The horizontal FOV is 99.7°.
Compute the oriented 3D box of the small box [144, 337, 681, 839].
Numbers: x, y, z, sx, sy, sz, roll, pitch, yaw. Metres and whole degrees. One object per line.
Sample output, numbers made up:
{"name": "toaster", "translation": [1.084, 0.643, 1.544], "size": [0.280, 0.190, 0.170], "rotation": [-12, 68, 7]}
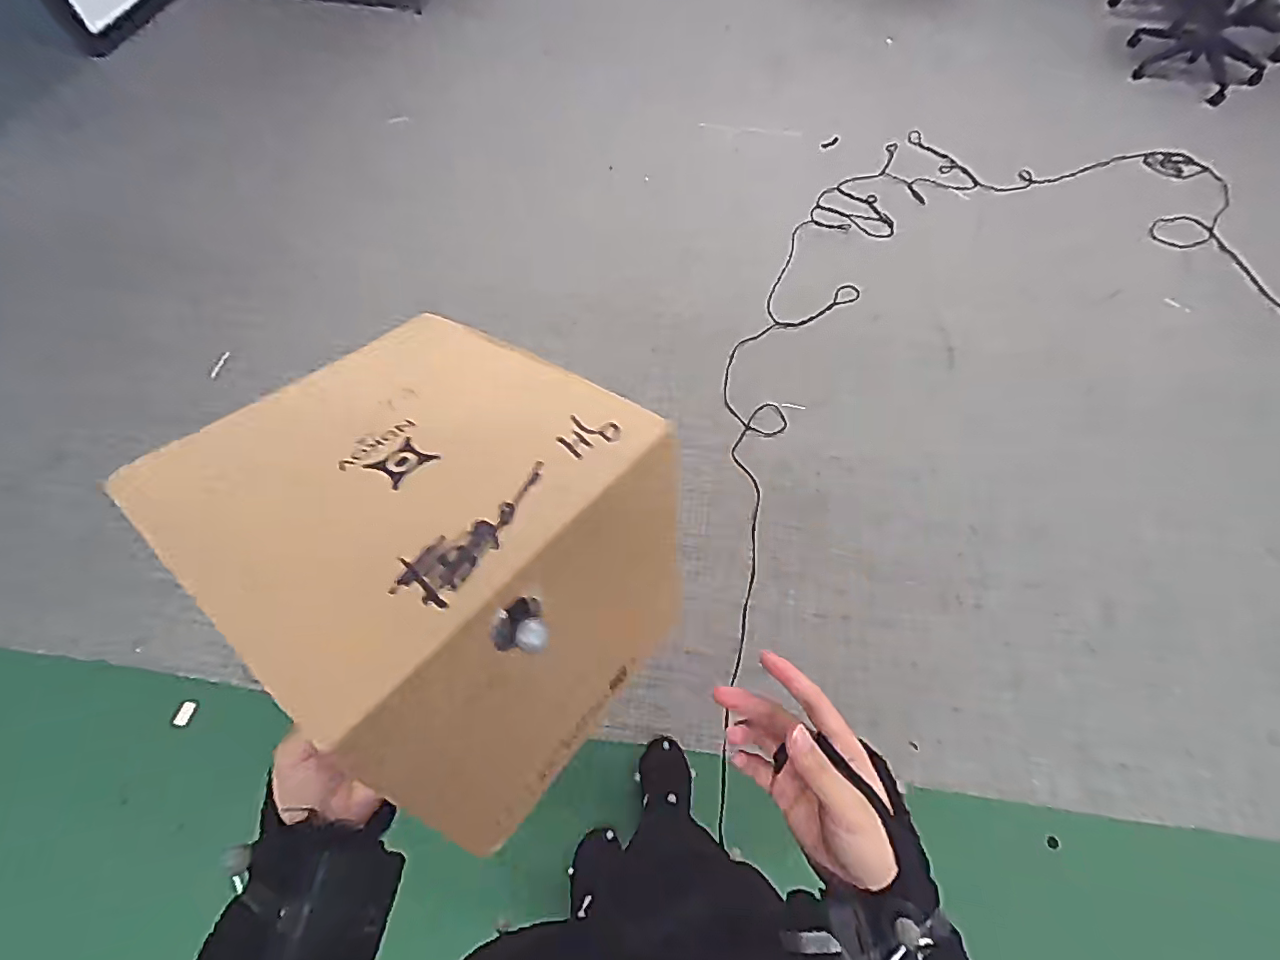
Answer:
{"name": "small box", "translation": [-0.093, 0.053, 0.293], "size": [0.179, 0.176, 0.168], "rotation": [26, 55, 27]}
